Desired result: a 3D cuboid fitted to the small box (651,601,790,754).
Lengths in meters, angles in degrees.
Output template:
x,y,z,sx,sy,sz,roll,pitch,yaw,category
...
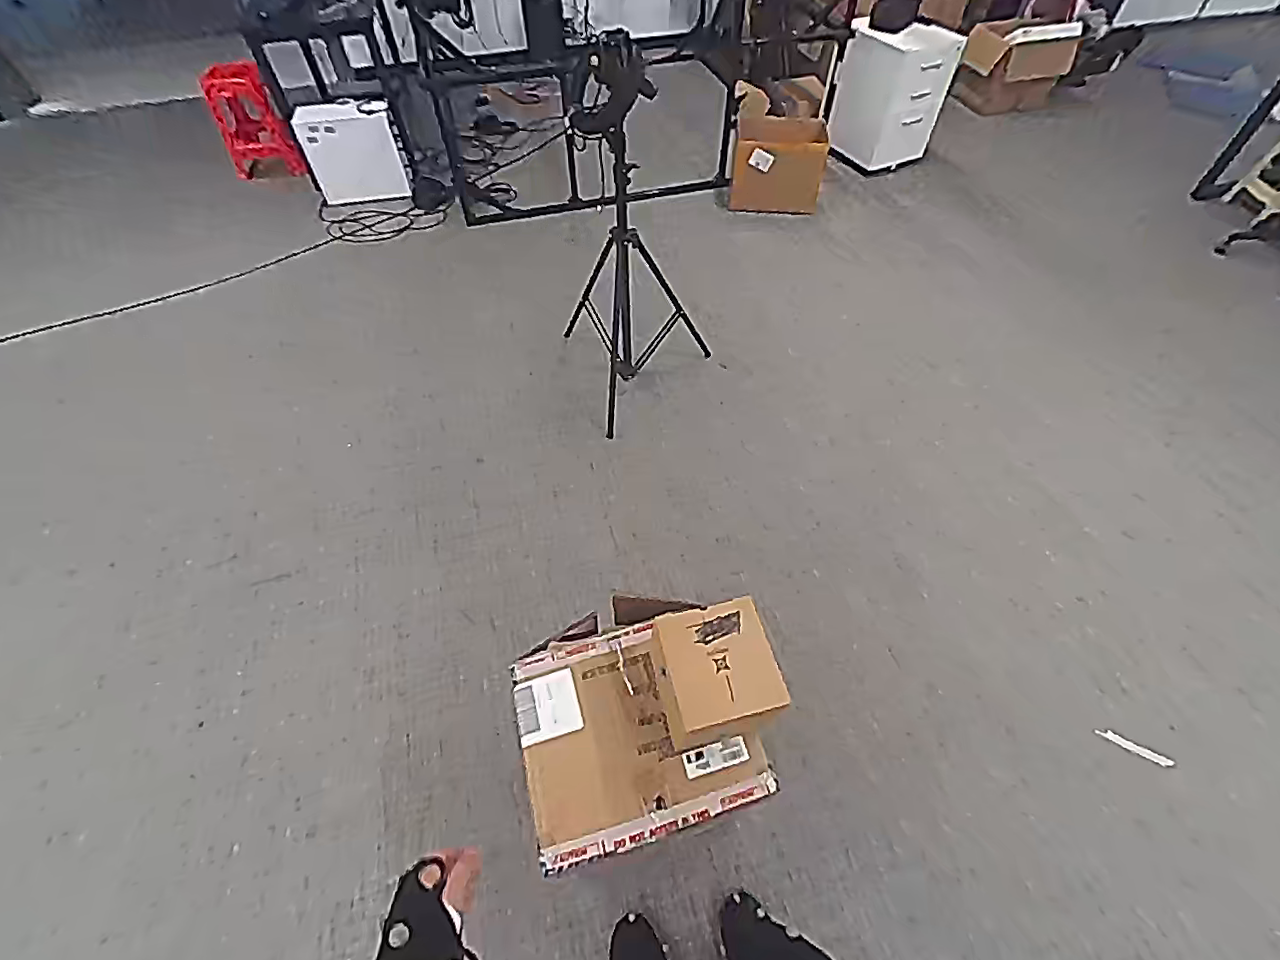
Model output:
x,y,z,sx,sy,sz,roll,pitch,yaw,category
0.117,0.325,0.885,0.168,0.176,0.179,-10,56,-10,small box
